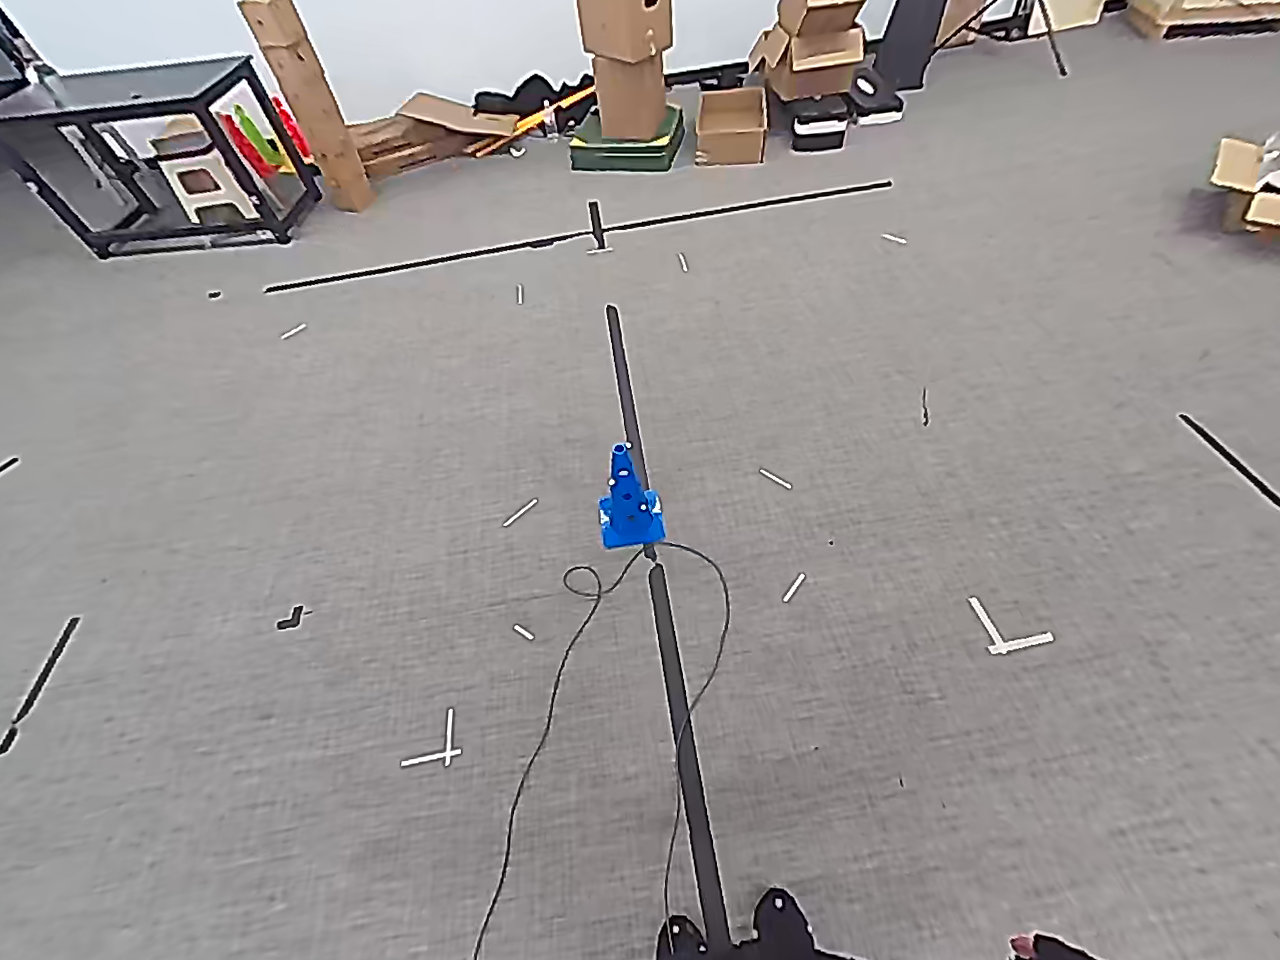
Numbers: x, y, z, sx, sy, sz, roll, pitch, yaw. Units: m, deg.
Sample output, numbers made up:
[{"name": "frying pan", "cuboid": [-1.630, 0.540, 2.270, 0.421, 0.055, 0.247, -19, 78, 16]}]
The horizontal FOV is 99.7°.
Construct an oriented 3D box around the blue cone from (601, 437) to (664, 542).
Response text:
[{"name": "blue cone", "cuboid": [-0.041, 0.014, 1.603, 0.193, 0.380, 0.192, -11, 53, -1]}]
